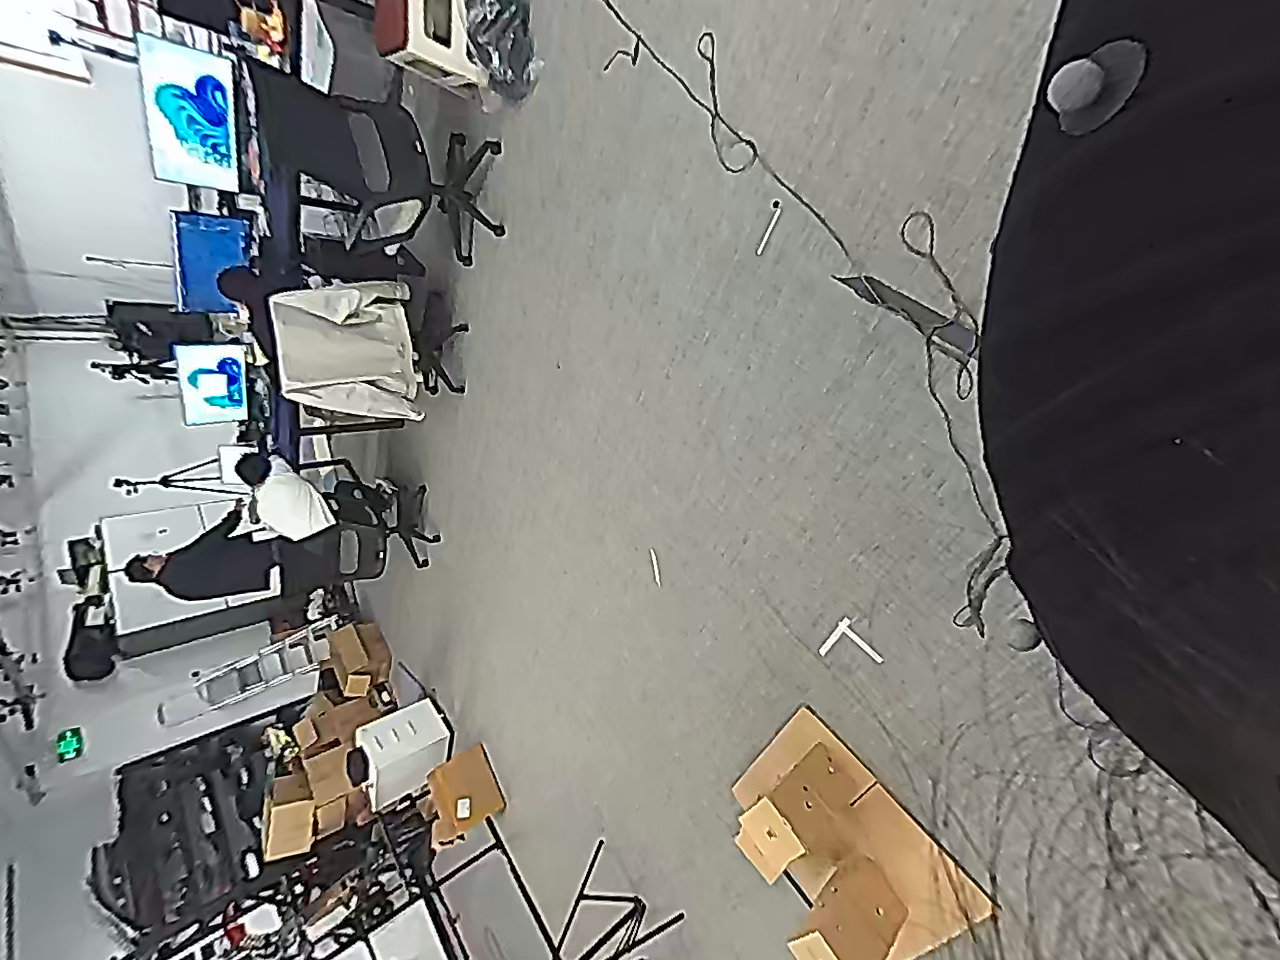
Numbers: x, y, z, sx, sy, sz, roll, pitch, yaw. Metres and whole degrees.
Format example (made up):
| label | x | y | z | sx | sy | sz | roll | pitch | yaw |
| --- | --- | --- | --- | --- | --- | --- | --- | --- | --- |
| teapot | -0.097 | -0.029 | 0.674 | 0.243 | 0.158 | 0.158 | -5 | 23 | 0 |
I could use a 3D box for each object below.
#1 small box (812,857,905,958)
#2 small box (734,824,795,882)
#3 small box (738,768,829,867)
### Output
| label | x | y | z | sx | sy | sz | roll | pitch | yaw |
| --- | --- | --- | --- | --- | --- | --- | --- | --- | --- |
| small box | 0.686 | 1.333 | 1.690 | 0.179 | 0.176 | 0.168 | 52 | 131 | 23 |
| small box | 0.469 | 1.250 | 1.904 | 0.179 | 0.176 | 0.168 | 41 | 127 | 34 |
| small box | 0.439 | 1.019 | 1.640 | 0.168 | 0.176 | 0.179 | 48 | 128 | 28 |
